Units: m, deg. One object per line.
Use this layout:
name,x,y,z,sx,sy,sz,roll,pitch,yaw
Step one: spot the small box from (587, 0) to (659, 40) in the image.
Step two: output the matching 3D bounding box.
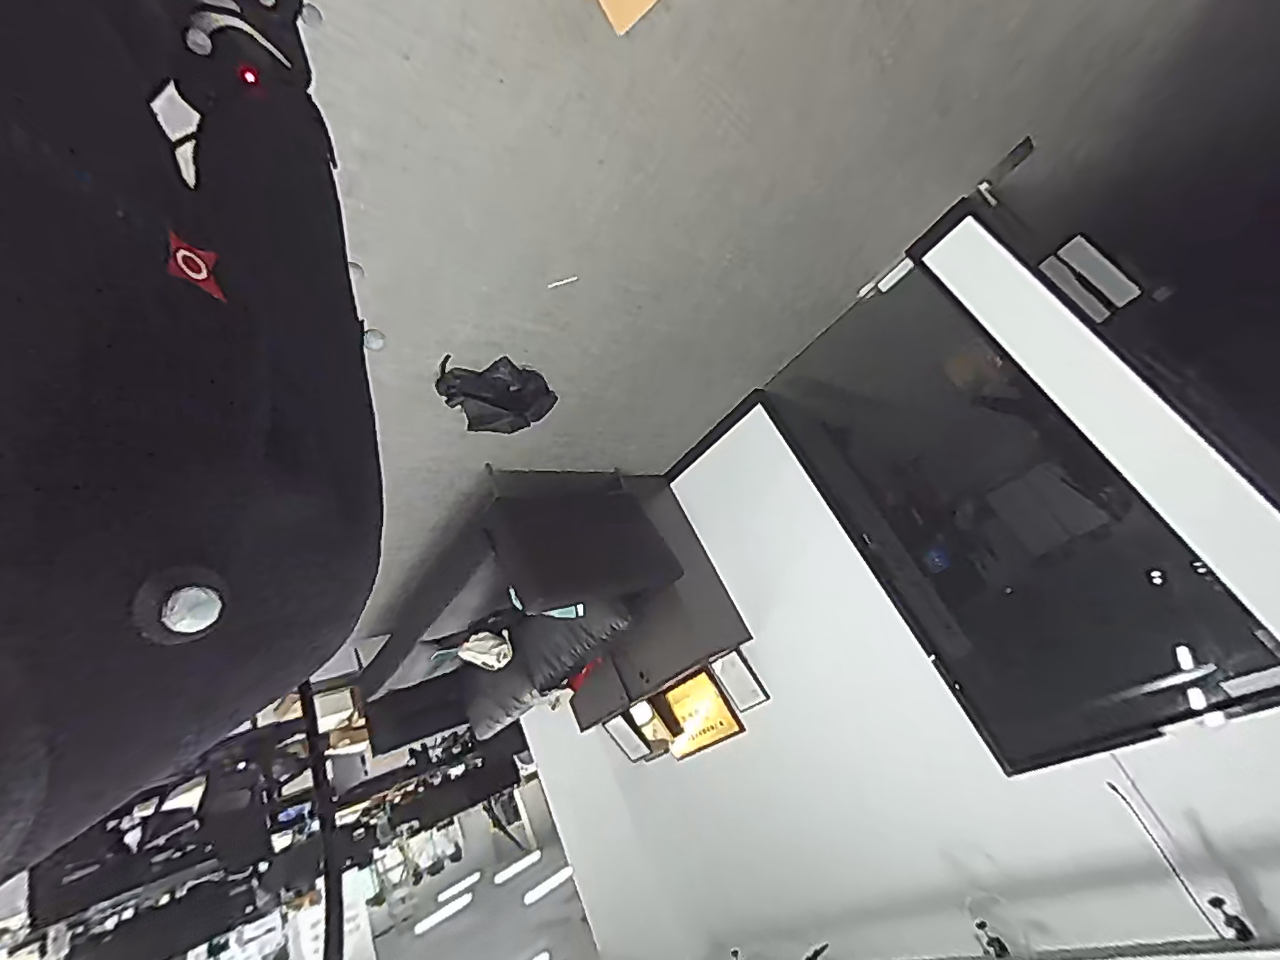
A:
small box,-0.051,-0.964,0.965,0.168,0.176,0.179,-34,156,17
